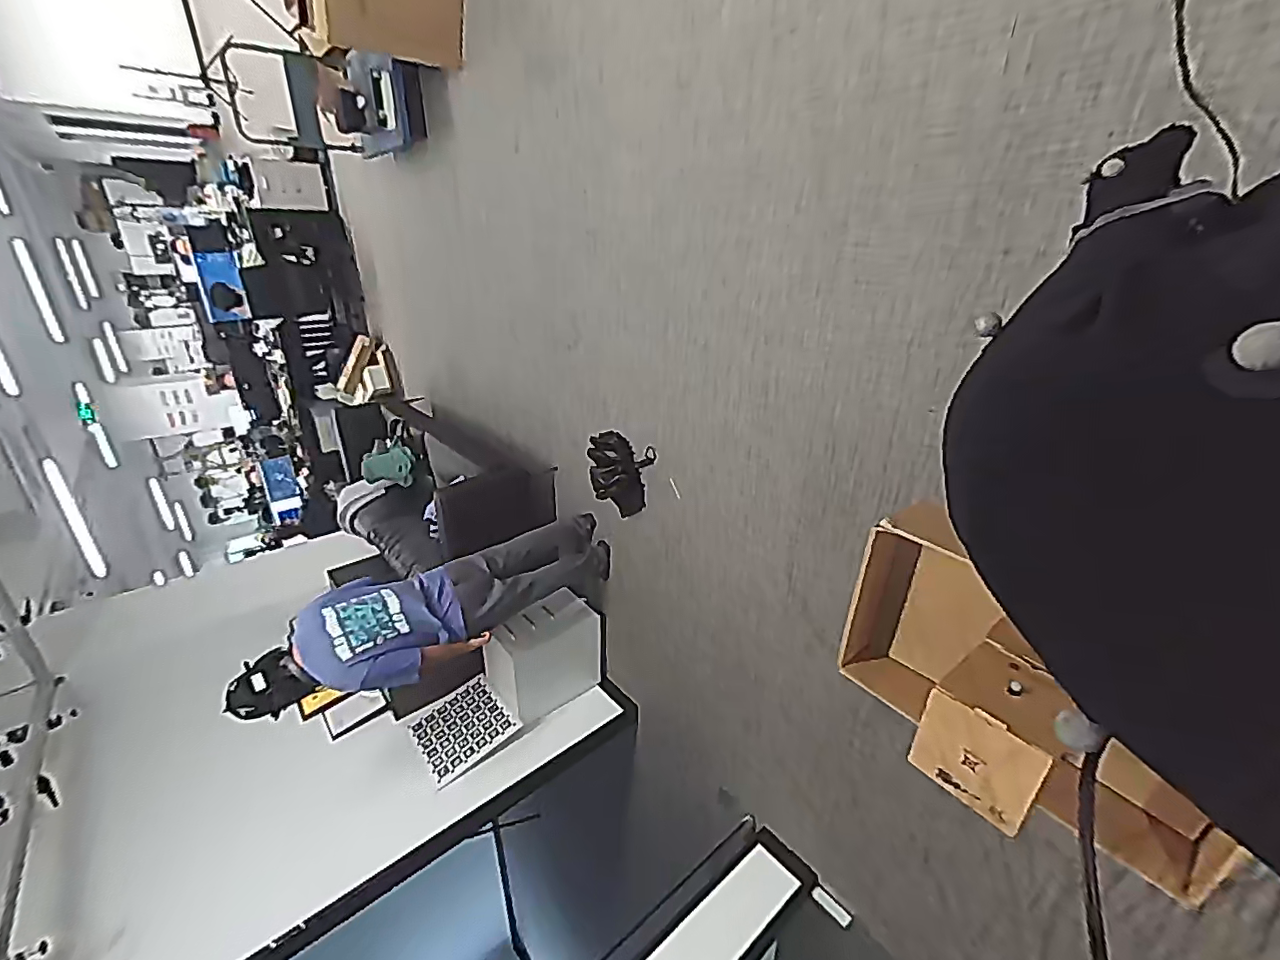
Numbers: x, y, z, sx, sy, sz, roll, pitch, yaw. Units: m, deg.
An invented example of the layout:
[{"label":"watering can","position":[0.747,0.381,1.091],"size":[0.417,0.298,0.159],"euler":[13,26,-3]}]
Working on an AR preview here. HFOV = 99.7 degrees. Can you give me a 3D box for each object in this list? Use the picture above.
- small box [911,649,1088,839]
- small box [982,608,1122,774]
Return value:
[{"label":"small box","position":[0.572,0.406,0.862],"size":[0.168,0.176,0.179],"euler":[30,127,45]},{"label":"small box","position":[0.702,0.357,0.950],"size":[0.168,0.176,0.179],"euler":[30,129,45]}]
